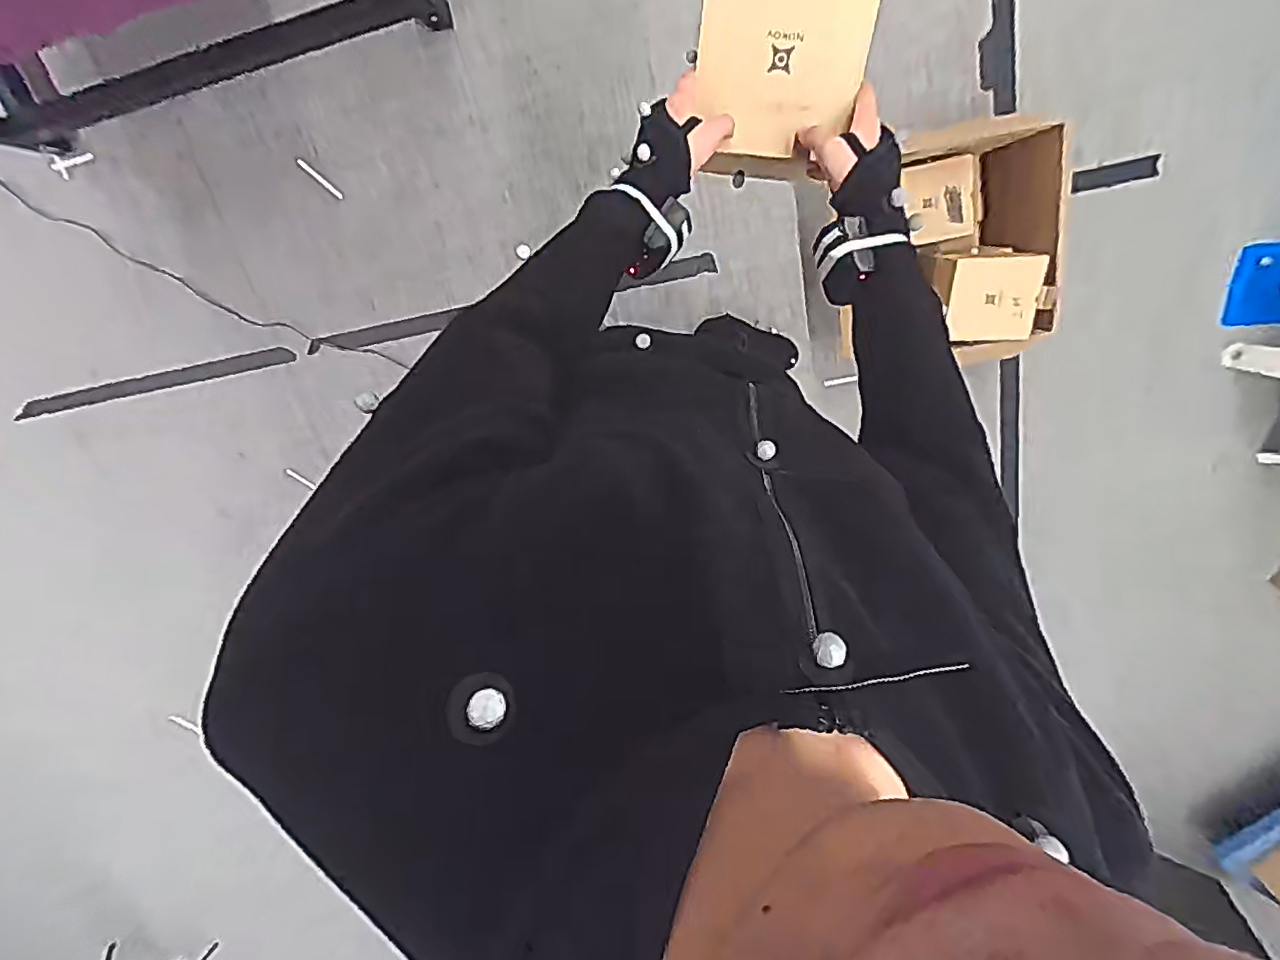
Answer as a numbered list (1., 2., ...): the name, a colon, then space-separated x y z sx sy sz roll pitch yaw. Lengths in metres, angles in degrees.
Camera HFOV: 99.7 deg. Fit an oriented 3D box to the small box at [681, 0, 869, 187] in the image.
1. small box: 0.139 -0.449 0.611 0.168 0.176 0.179 8 112 3
